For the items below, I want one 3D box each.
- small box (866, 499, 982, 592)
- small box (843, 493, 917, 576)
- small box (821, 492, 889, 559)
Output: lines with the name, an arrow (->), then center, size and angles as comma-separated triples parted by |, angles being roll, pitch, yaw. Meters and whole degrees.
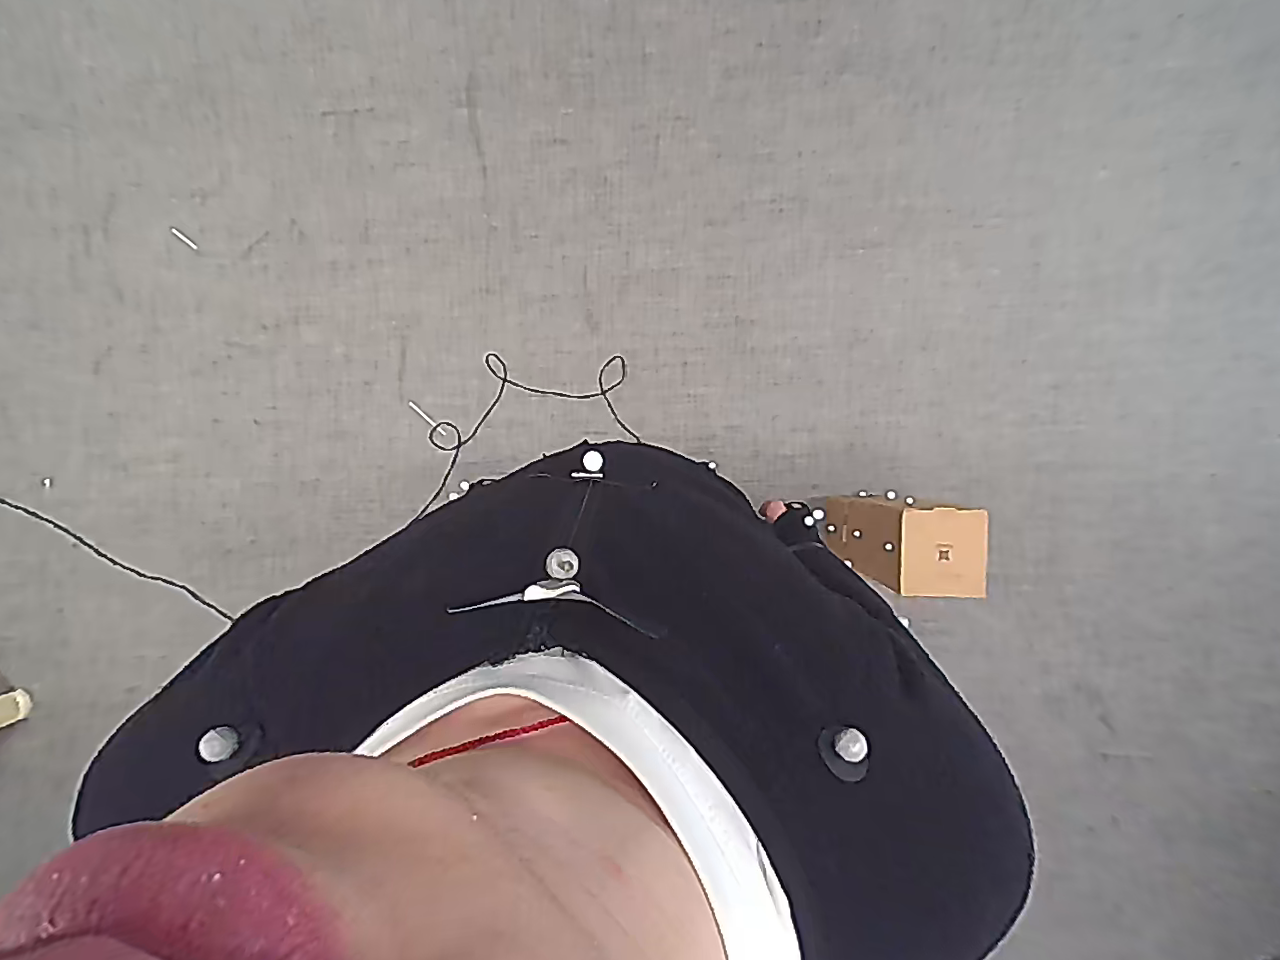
small box -> 0.598, 0.133, 1.158 | 0.168, 0.176, 0.179 | -1, 95, 2
small box -> 0.607, 0.129, 1.316 | 0.168, 0.176, 0.179 | 1, 95, -1
small box -> 0.610, 0.121, 1.502 | 0.179, 0.176, 0.168 | -3, 93, 0
